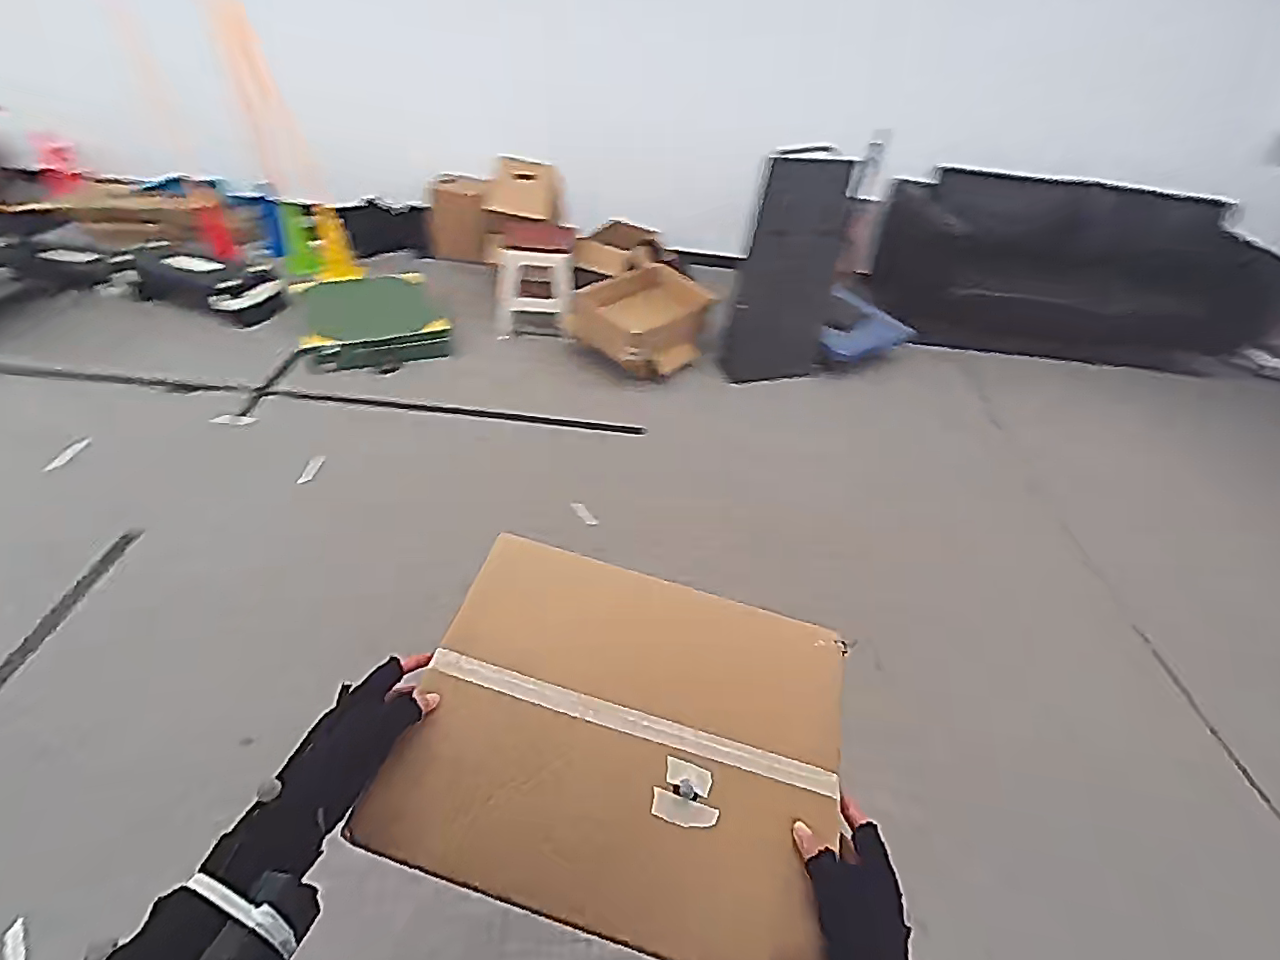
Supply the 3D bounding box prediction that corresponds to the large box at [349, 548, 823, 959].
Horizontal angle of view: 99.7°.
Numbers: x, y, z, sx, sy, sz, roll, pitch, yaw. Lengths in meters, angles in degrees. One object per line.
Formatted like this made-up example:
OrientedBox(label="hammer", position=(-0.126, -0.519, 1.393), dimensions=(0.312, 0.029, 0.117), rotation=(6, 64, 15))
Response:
OrientedBox(label="large box", position=(-0.037, 0.331, 0.645), dimensions=(0.408, 0.320, 0.320), rotation=(15, 52, 4))
